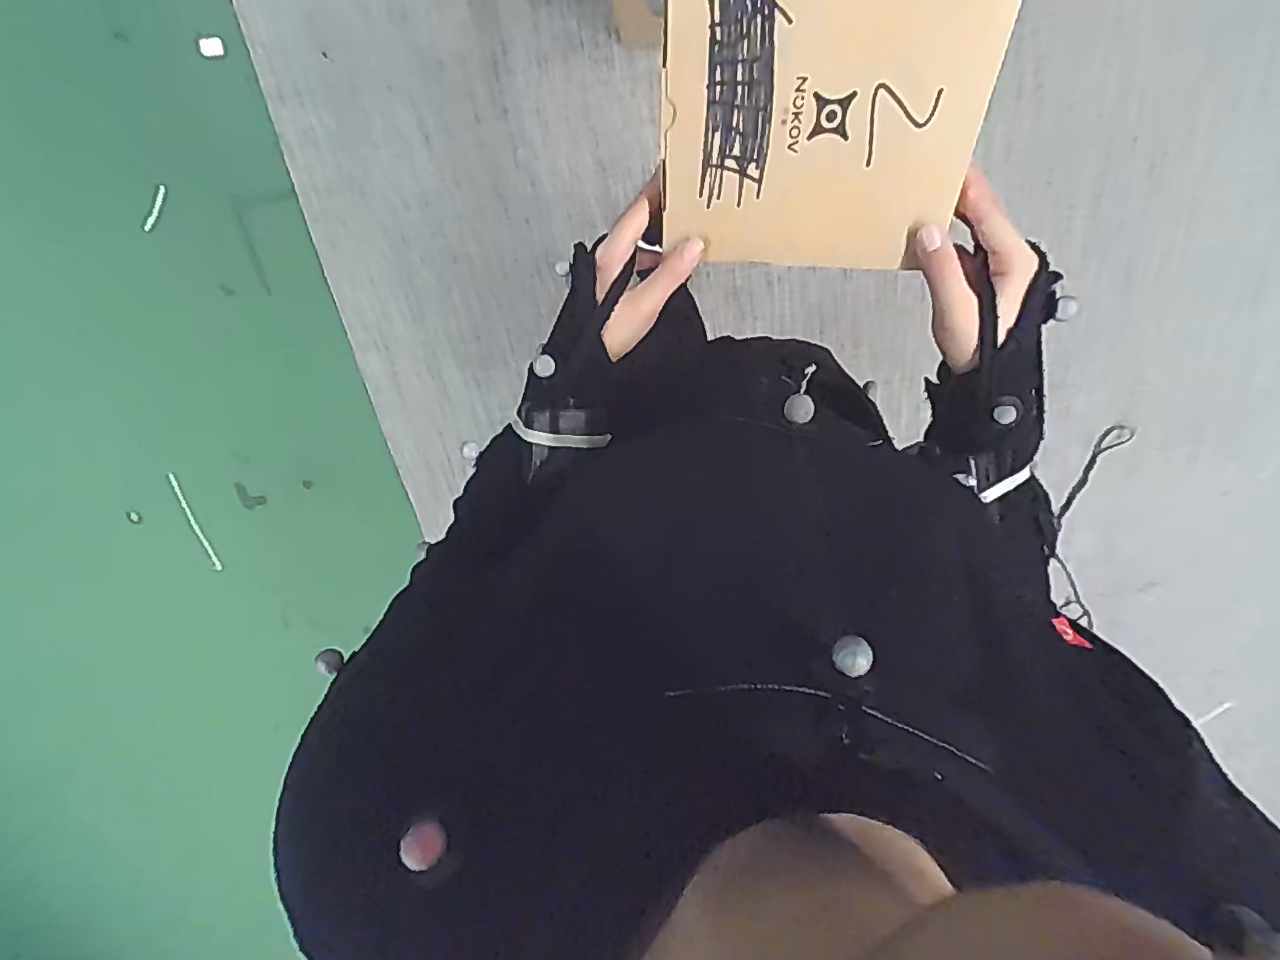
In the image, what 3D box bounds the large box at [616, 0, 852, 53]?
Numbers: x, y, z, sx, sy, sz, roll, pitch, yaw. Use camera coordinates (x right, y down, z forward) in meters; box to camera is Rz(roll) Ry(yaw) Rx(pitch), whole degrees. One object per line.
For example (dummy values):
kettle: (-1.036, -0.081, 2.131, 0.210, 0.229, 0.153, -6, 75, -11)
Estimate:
large box: (0.149, -0.922, 0.845, 0.408, 0.320, 0.320, -3, 114, 3)
